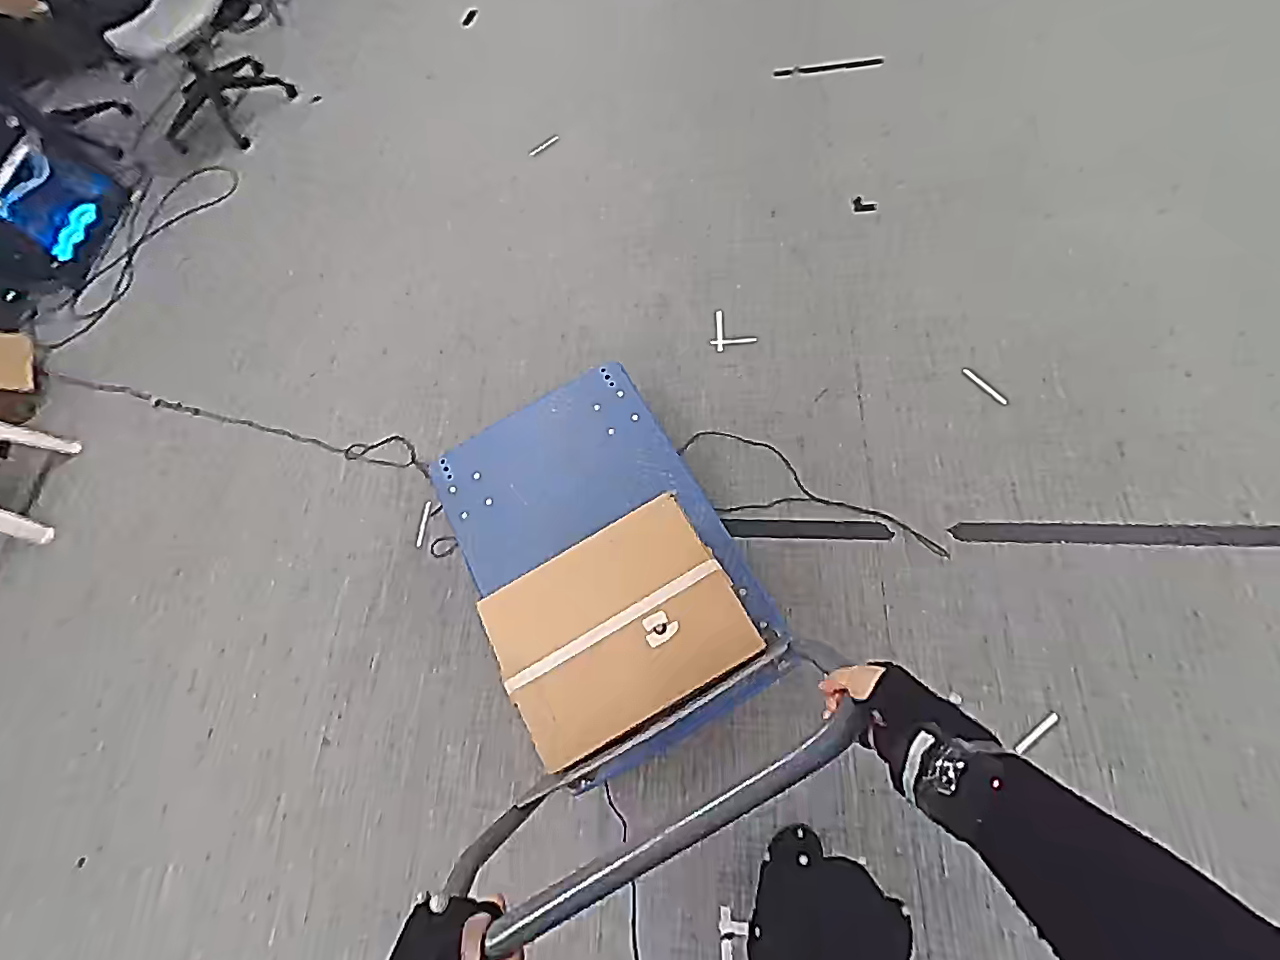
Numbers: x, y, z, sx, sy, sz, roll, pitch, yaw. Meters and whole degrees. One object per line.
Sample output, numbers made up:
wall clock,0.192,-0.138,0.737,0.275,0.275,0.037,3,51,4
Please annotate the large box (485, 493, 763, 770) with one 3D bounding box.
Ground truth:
large box,-0.018,0.294,1.063,0.408,0.320,0.320,-30,70,-3
